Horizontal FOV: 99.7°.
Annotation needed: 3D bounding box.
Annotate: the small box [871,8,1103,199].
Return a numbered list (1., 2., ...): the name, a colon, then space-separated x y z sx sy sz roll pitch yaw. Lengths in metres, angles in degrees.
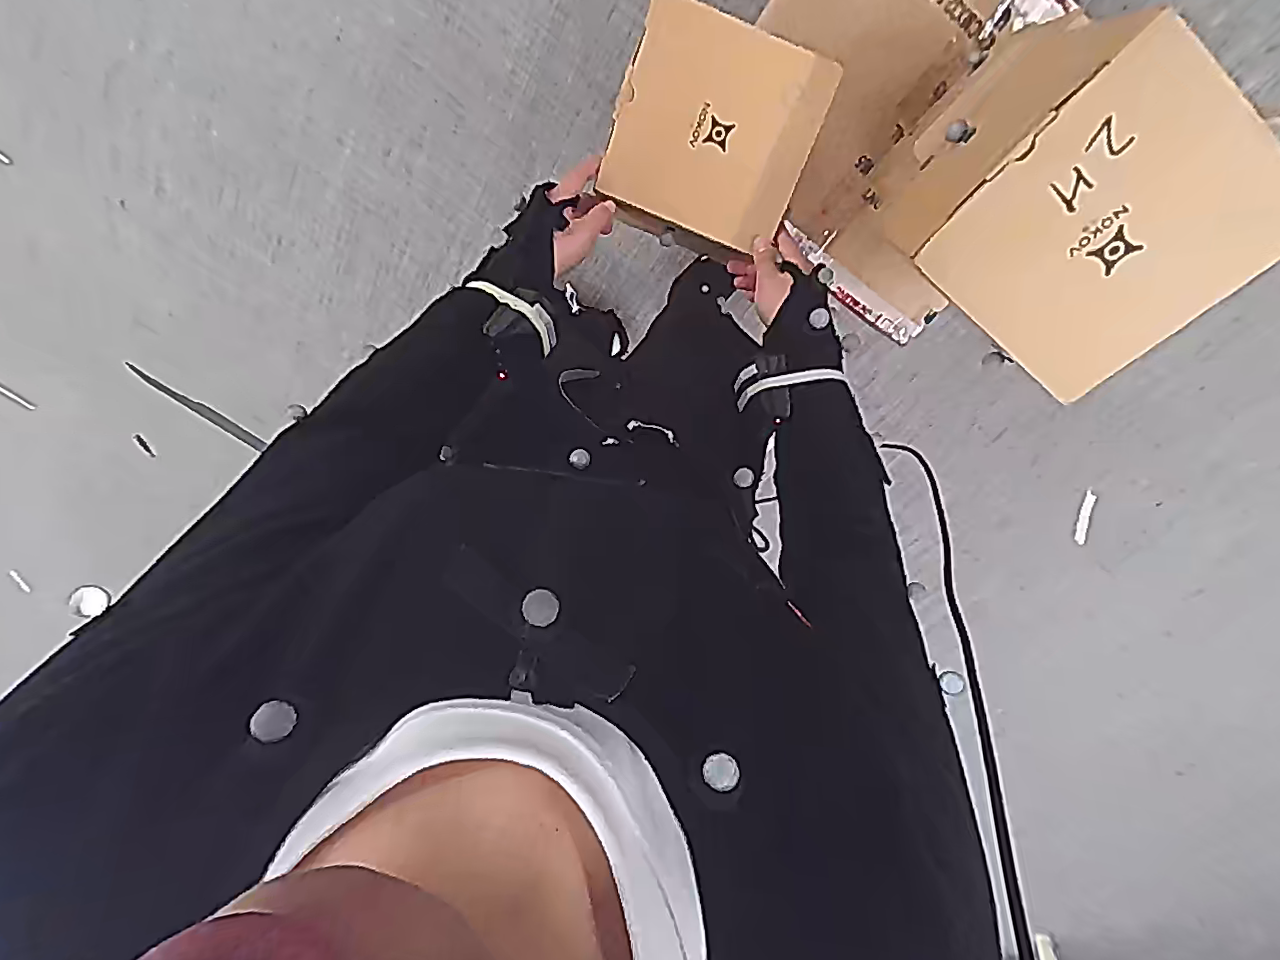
1. small box: 0.358 -0.301 0.534 0.179 0.176 0.168 38 122 -14

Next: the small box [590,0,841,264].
1. small box: 0.068 -0.332 0.552 0.179 0.176 0.168 21 108 -3

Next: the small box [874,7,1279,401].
1. small box: 0.312 -0.199 0.411 0.179 0.176 0.168 36 123 -12
